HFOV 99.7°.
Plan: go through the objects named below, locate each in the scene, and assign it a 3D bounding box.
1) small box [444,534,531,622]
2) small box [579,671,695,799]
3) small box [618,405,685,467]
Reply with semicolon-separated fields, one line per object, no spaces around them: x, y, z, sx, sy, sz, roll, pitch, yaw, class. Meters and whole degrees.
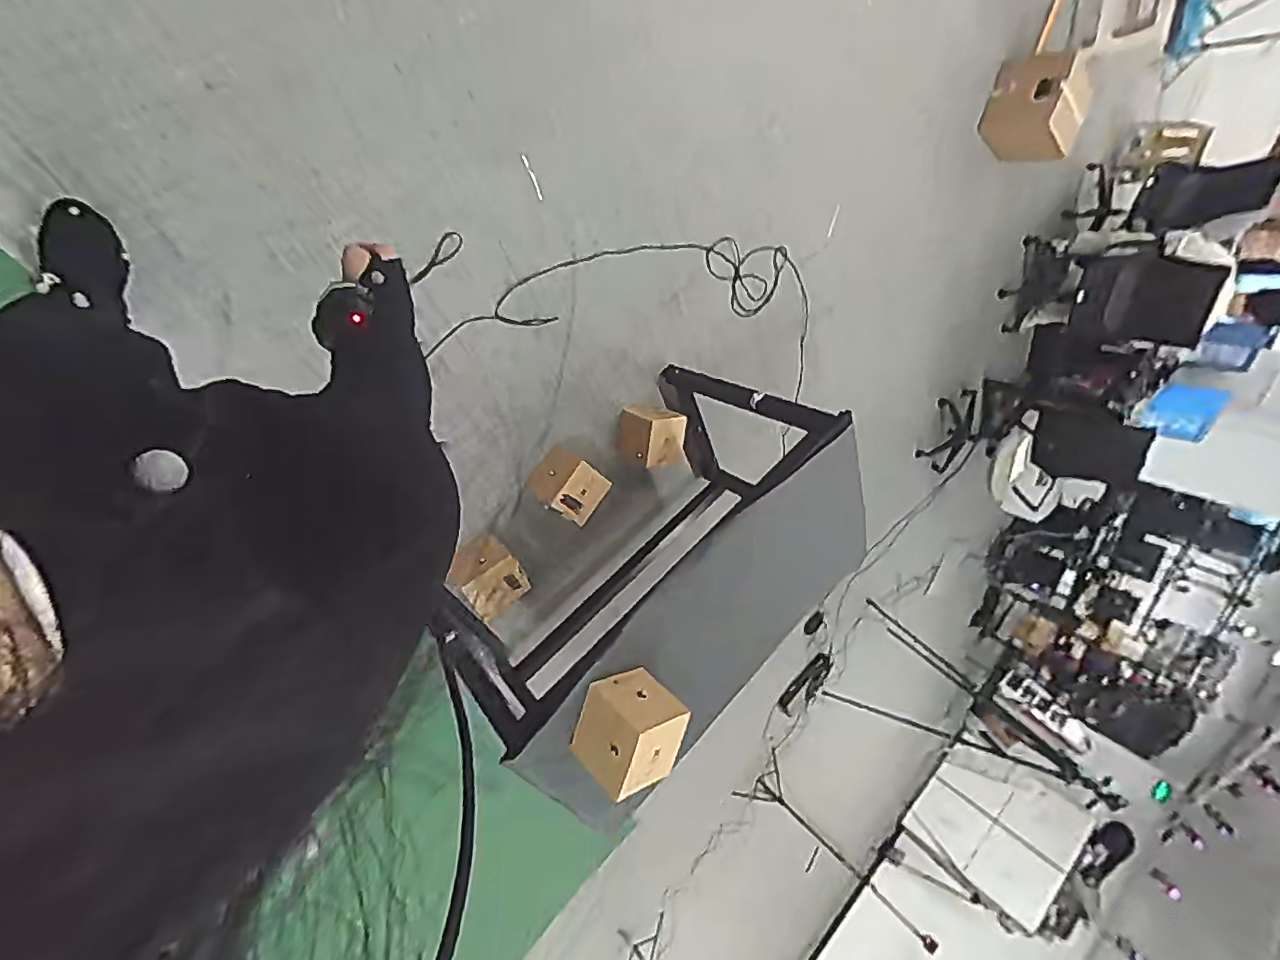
-0.481;0.300;1.696;0.179;0.176;0.168;-37;131;-21;small box
-0.012;0.545;1.190;0.168;0.176;0.179;3;108;-46;small box
0.037;-0.165;1.938;0.168;0.176;0.179;-12;119;-38;small box
